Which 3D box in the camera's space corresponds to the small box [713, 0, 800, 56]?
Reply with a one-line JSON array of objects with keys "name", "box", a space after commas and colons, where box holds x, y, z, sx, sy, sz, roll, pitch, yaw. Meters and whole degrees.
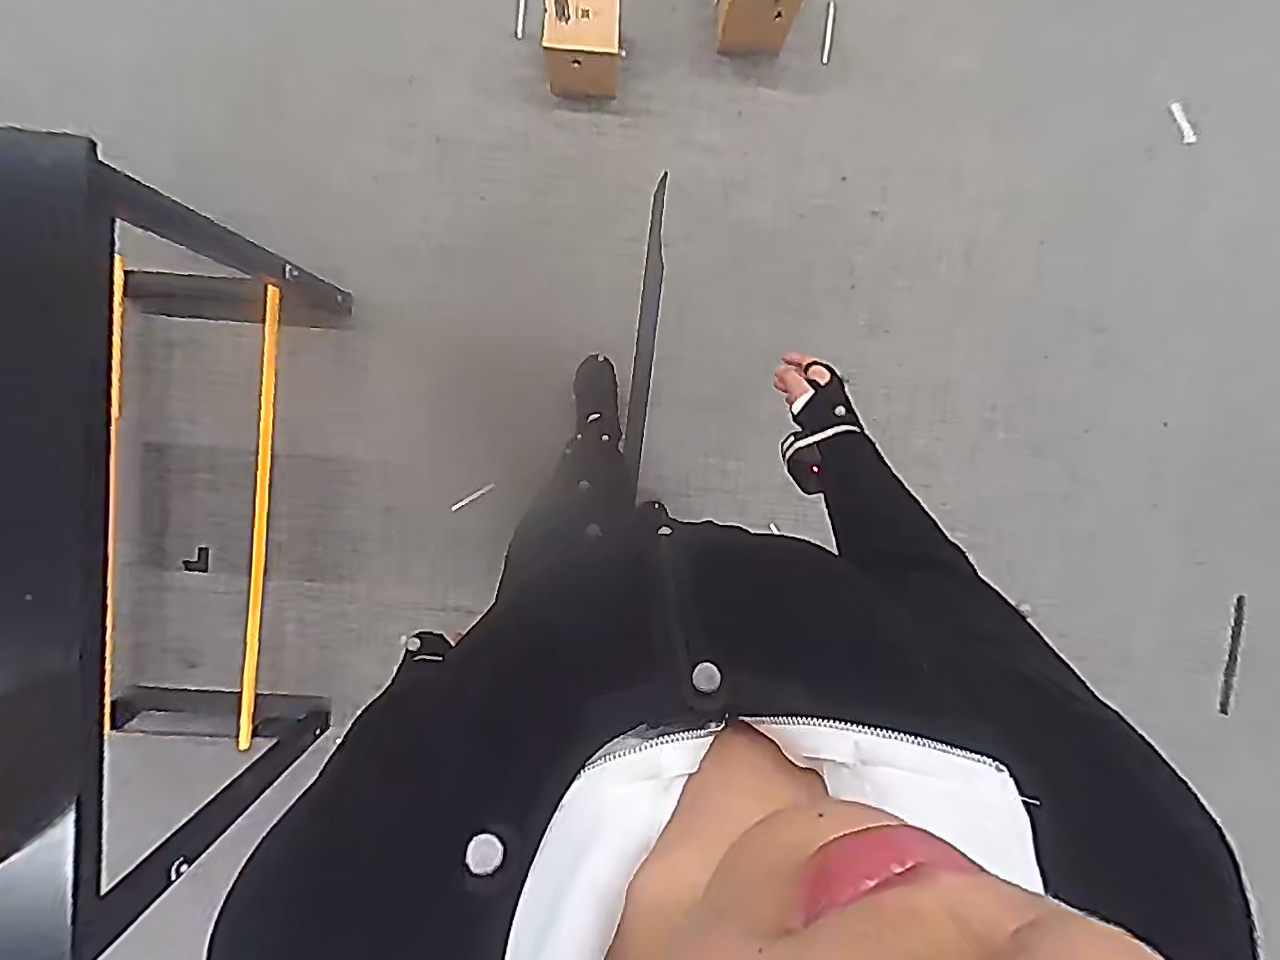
[{"name": "small box", "box": [0.285, -1.191, 1.336, 0.179, 0.176, 0.168, -1, 94, -3]}]

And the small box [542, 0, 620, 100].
[{"name": "small box", "box": [-0.139, -1.068, 1.323, 0.179, 0.176, 0.168, 2, 94, -3]}]

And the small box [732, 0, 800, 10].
[{"name": "small box", "box": [0.291, -1.171, 1.174, 0.168, 0.176, 0.179, -2, 95, -3]}]
